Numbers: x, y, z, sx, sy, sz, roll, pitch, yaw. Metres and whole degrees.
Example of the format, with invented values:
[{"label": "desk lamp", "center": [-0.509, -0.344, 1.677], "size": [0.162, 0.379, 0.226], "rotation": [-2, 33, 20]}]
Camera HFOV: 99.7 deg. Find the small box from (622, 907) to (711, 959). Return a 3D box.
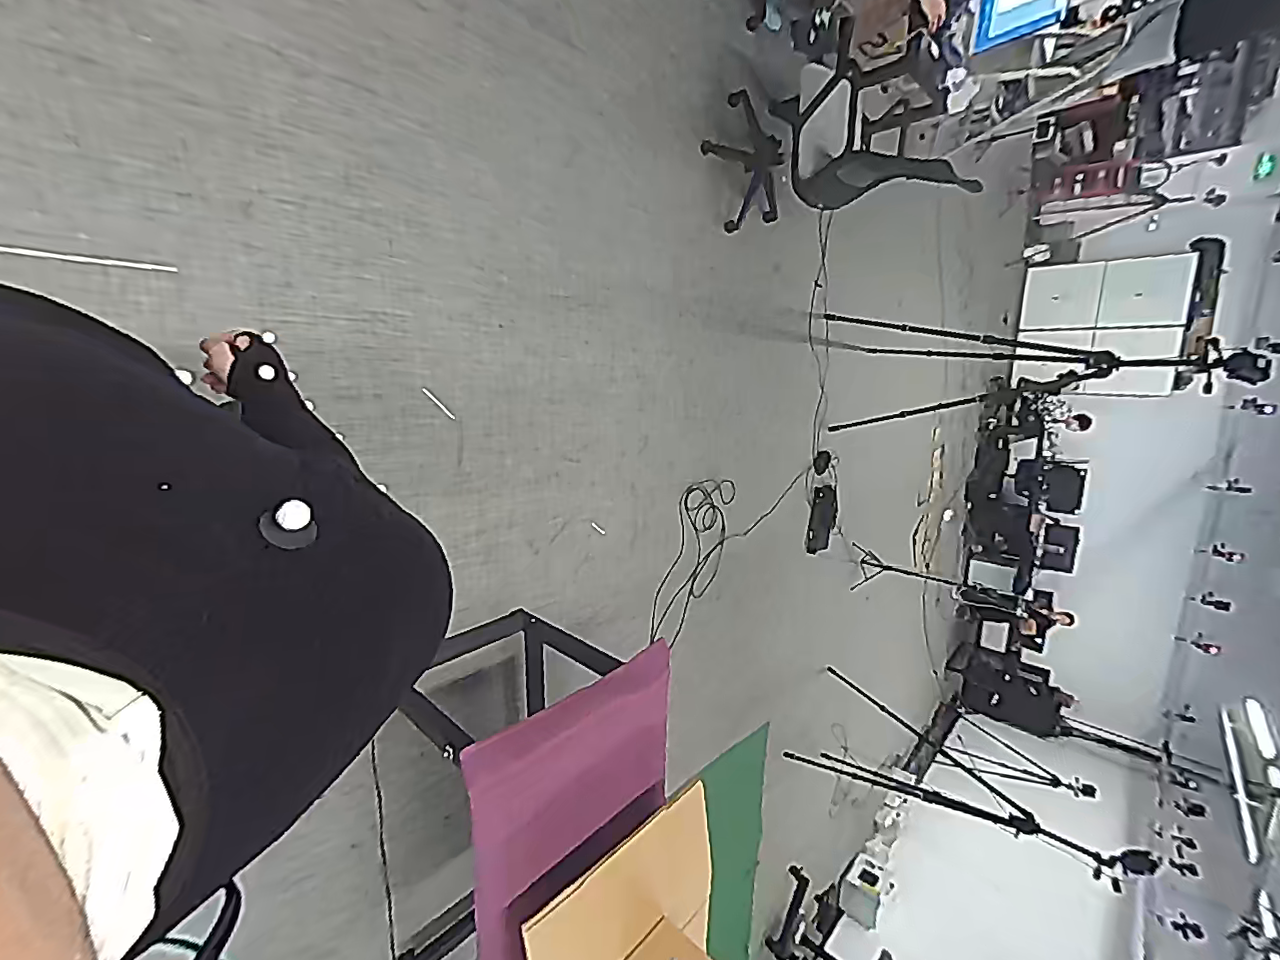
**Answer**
[{"label": "small box", "center": [0.059, 1.257, 1.371], "size": [0.179, 0.176, 0.168], "rotation": [-15, 113, -45]}]
